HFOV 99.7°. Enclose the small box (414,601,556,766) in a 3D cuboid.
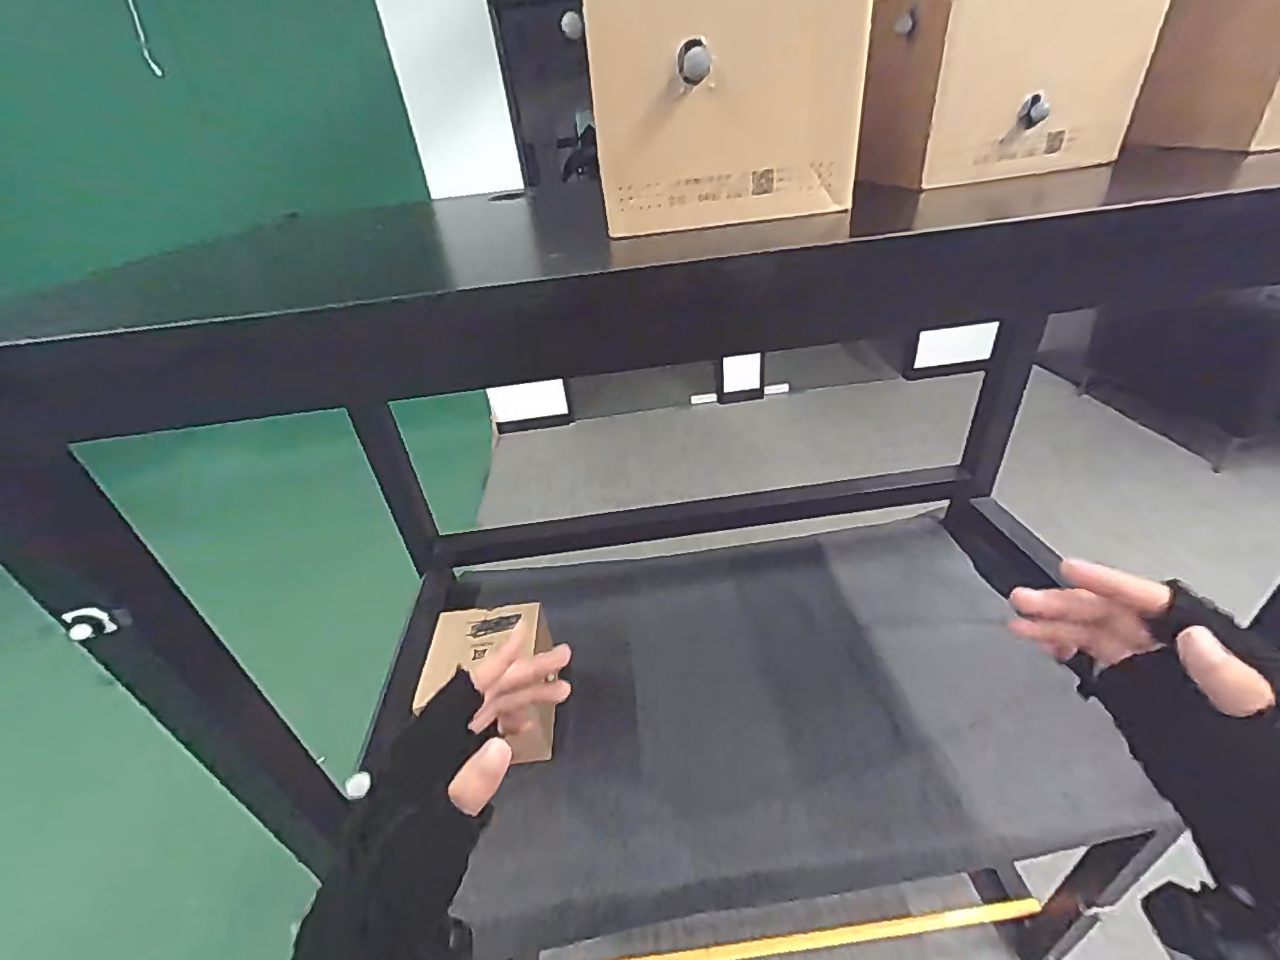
[{"bbox_3d":[-0.231,0.321,0.860,0.168,0.176,0.179,-7,34,0],"label":"small box"}]
